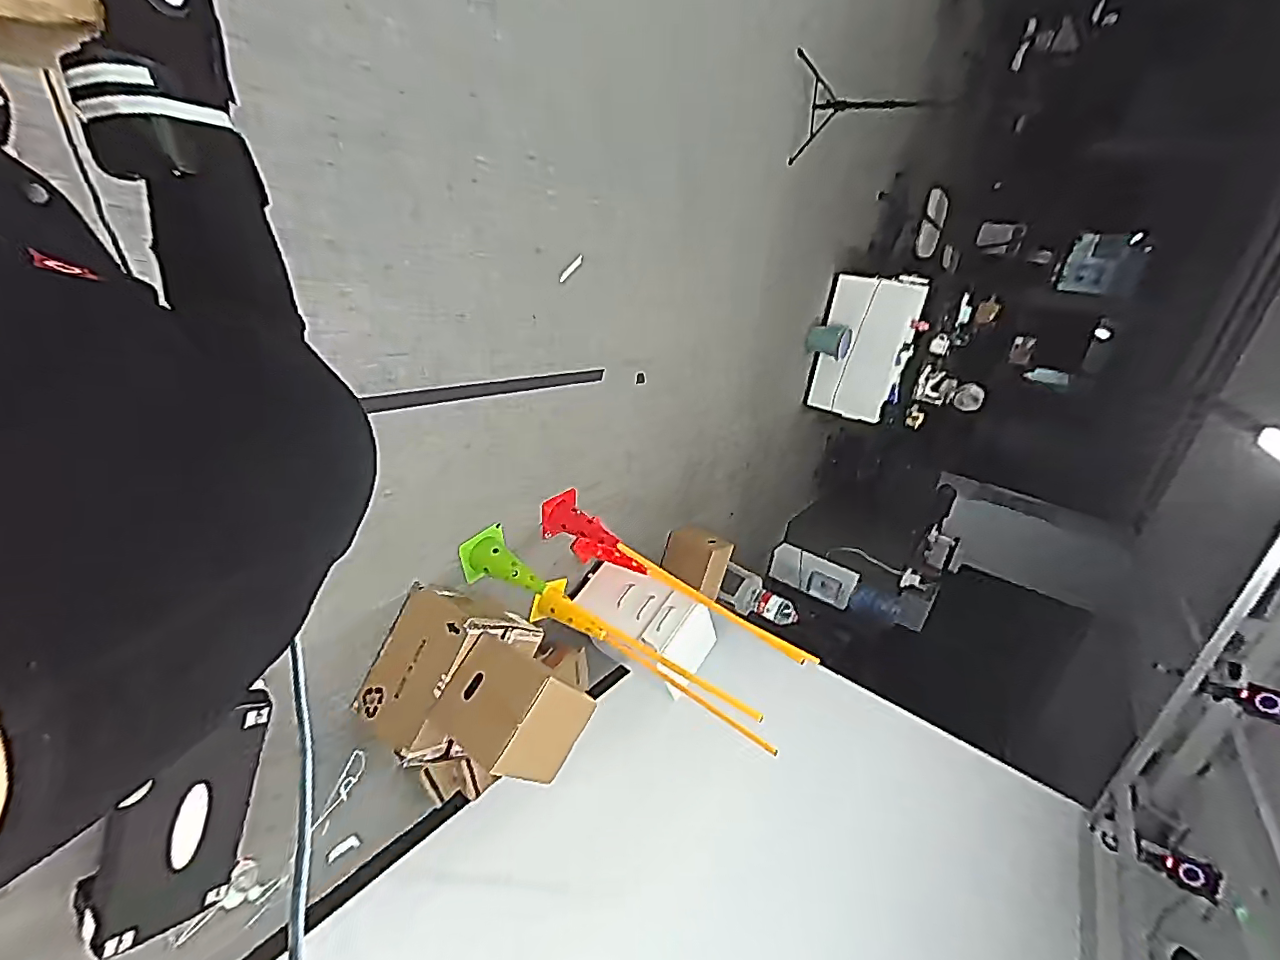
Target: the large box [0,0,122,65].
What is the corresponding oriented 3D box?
[{"bbox_3d":[-0.577,-0.414,0.238,0.408,0.320,0.320,-27,131,-41],"label":"large box"}]
